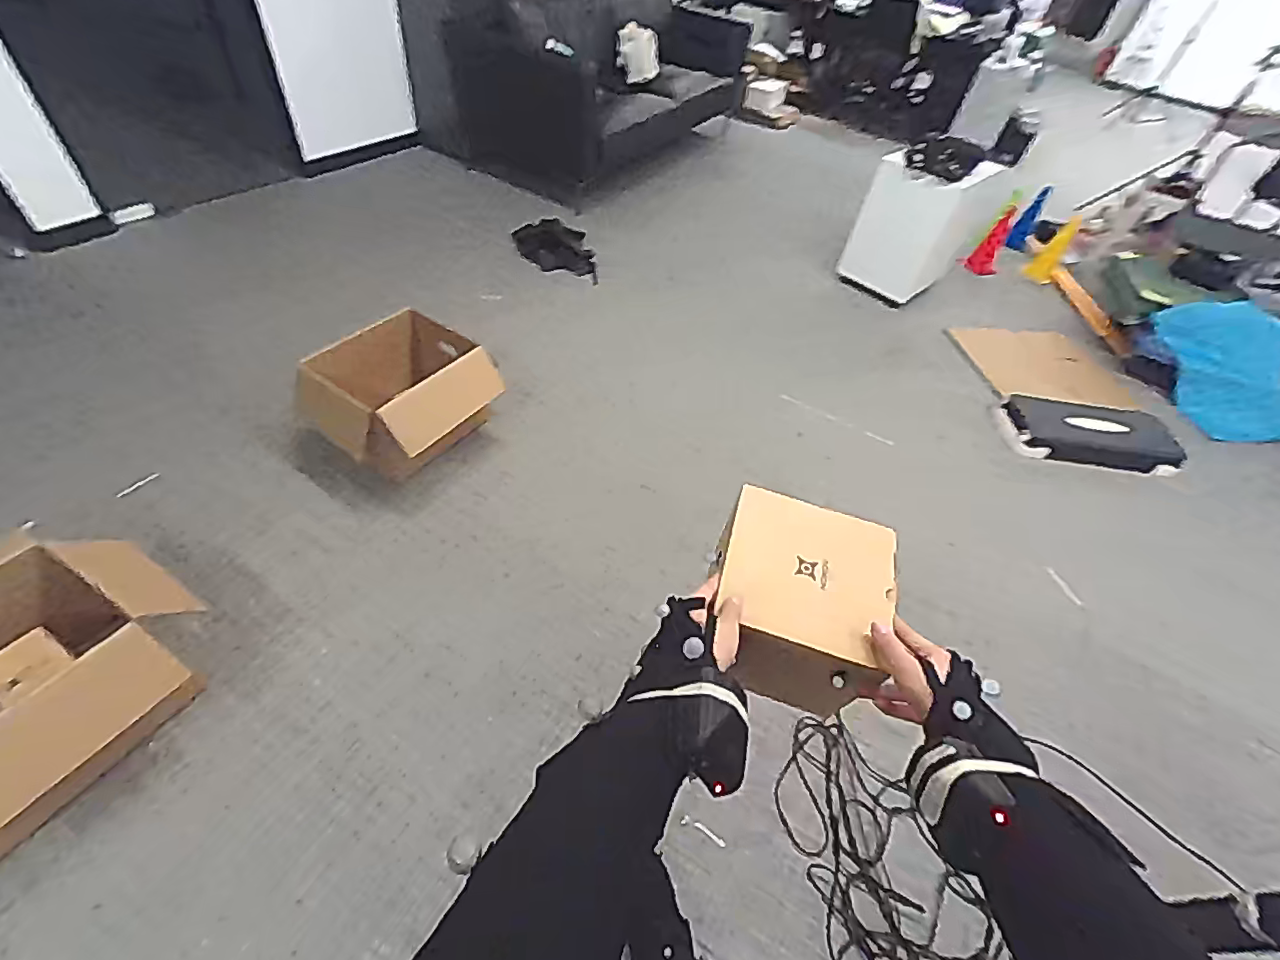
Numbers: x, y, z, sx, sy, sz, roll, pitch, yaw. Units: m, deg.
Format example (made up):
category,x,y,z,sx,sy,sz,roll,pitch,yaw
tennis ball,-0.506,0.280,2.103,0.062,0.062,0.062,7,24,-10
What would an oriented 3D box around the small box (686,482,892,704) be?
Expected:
category,x,y,z,sx,sy,sz,roll,pitch,yaw
small box,0.160,0.134,0.613,0.179,0.176,0.168,17,55,4
